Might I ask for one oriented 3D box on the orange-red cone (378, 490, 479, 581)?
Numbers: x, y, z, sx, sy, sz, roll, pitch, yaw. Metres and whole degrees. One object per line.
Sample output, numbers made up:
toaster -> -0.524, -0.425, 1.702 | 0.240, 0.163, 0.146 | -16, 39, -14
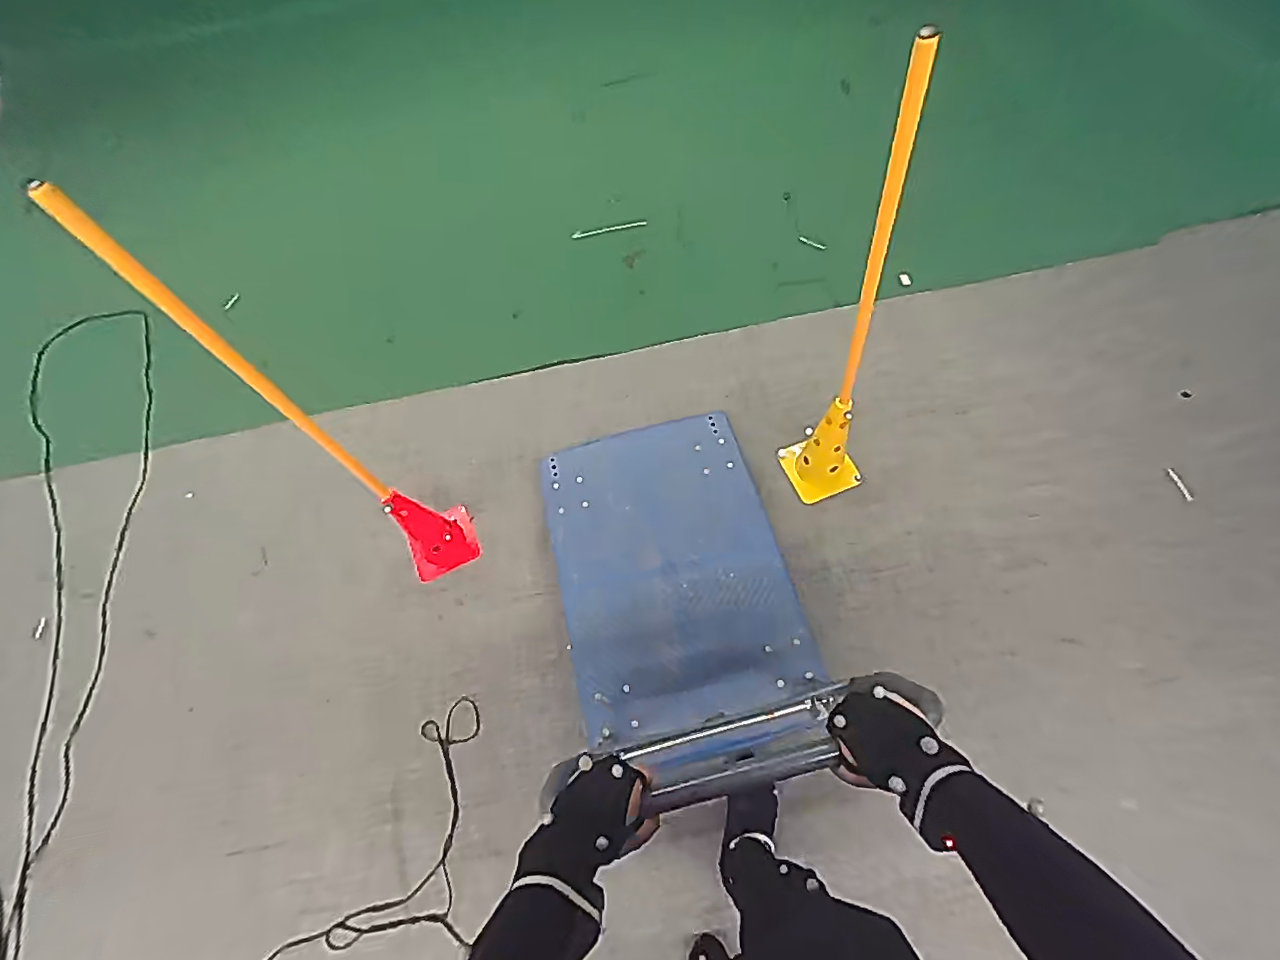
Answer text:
orange-red cone -> -0.627, 0.121, 1.518 | 0.199, 0.360, 0.198 | -25, 63, -5
